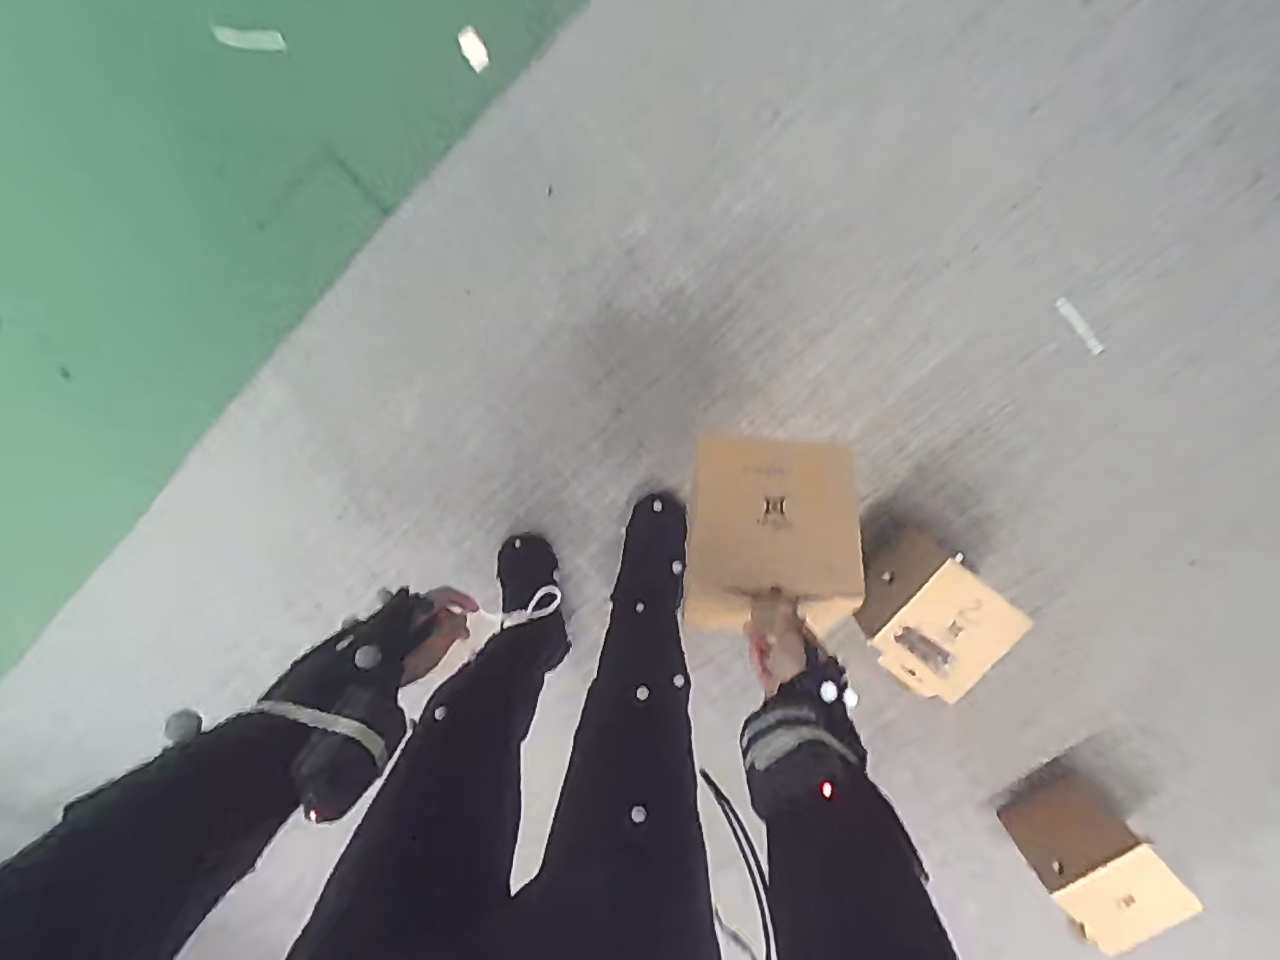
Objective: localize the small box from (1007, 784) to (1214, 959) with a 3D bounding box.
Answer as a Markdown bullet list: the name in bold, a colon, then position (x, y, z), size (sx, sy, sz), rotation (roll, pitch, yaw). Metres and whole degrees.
- **small box**: position (0.799, 0.680, 0.941), size (0.179, 0.176, 0.168), rotation (-43, 95, 12)
